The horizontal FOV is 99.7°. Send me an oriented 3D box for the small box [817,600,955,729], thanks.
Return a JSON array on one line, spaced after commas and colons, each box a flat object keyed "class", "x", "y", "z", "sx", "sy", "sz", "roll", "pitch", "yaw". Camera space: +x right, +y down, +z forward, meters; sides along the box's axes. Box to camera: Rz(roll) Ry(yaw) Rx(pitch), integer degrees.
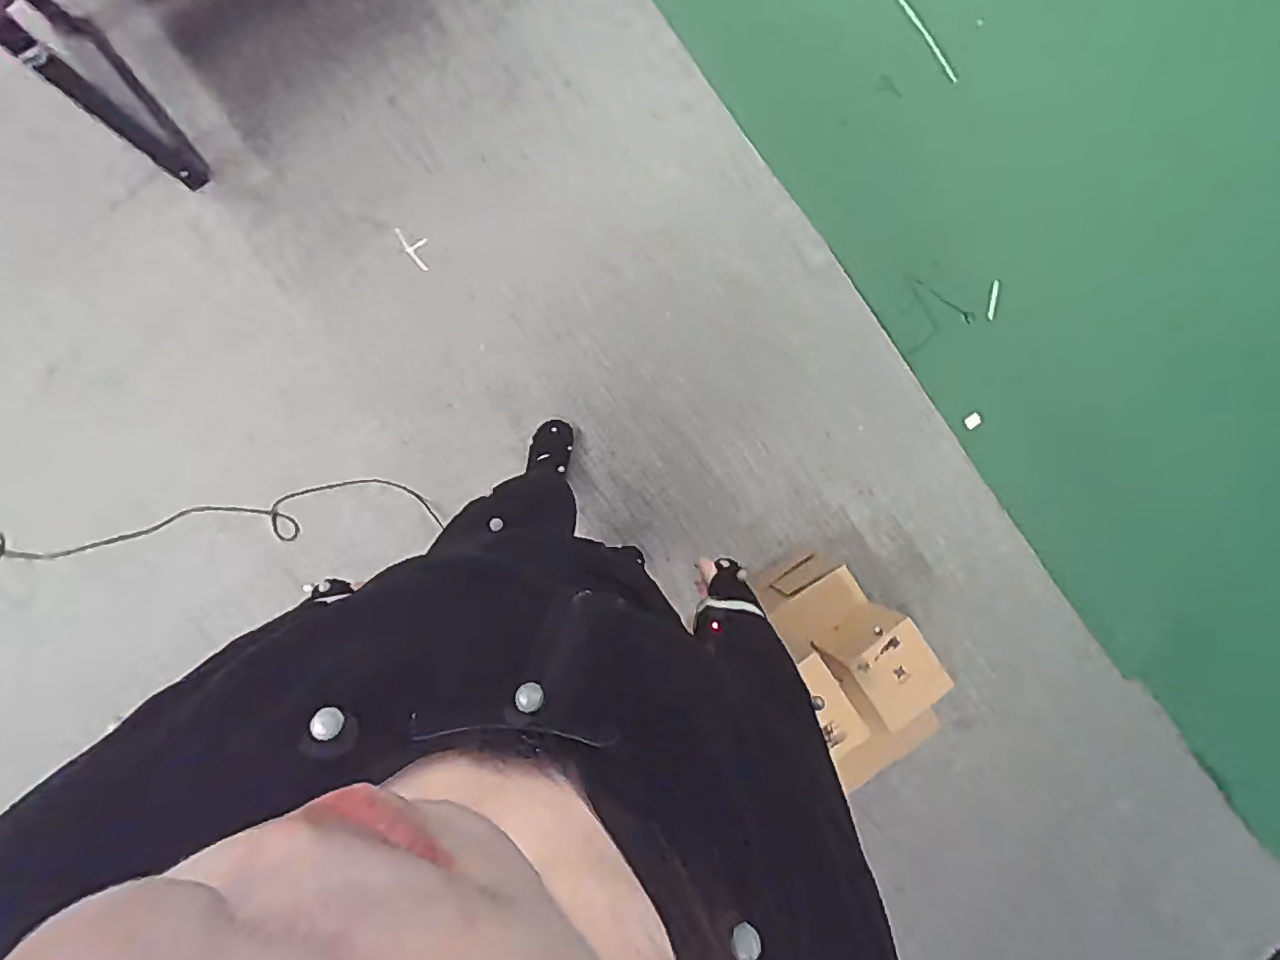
[{"class": "small box", "x": 0.520, "y": 0.386, "z": 1.165, "sx": 0.168, "sy": 0.176, "sz": 0.179, "roll": -34, "pitch": 93, "yaw": -5}]
